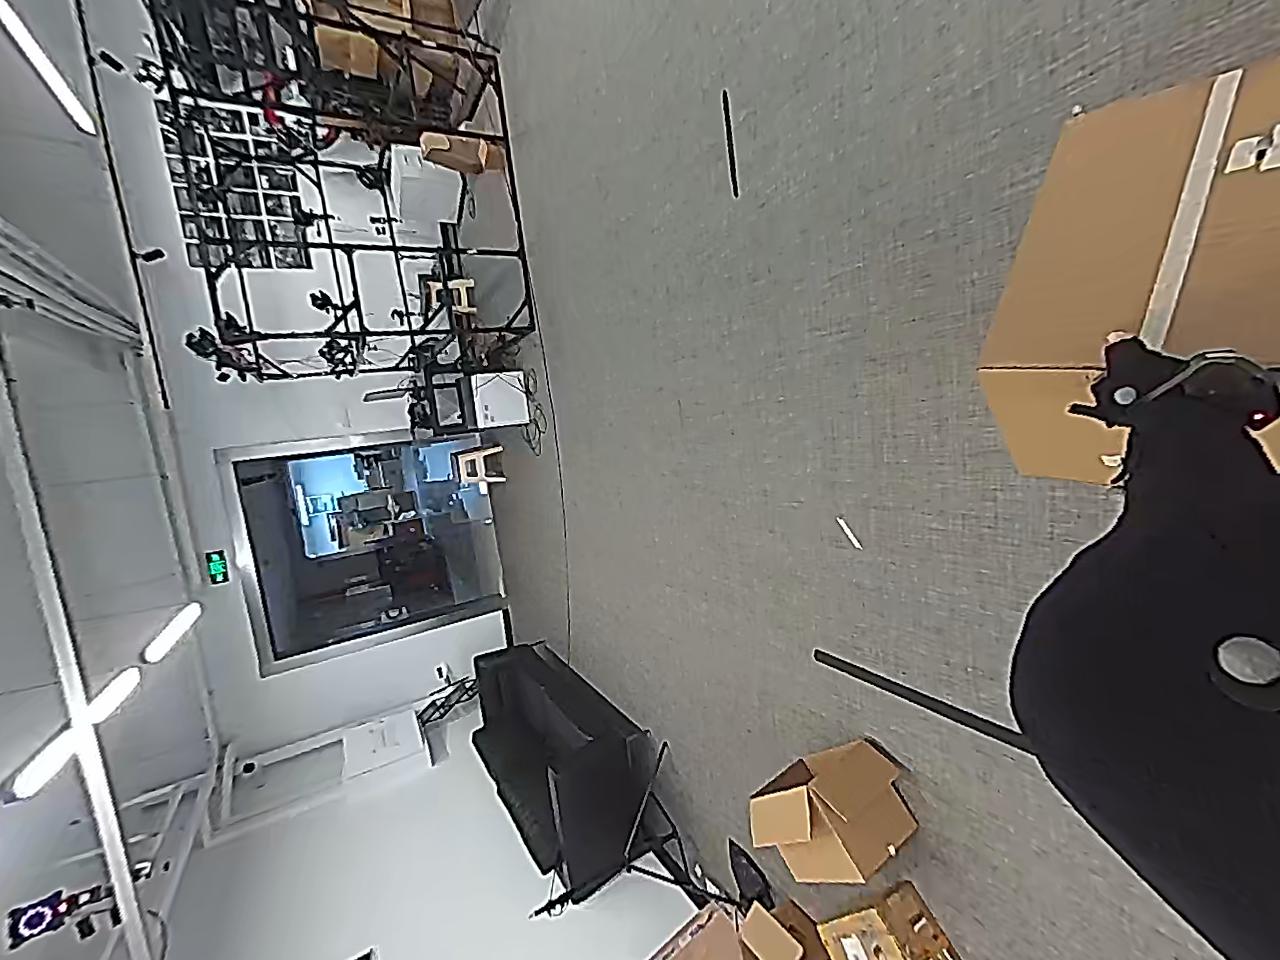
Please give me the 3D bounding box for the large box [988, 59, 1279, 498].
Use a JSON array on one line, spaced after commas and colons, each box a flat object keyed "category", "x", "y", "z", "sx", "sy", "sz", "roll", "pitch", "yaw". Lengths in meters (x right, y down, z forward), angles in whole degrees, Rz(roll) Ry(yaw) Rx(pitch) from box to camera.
[{"category": "large box", "x": 0.704, "y": -0.230, "z": 0.688, "sx": 0.320, "sy": 0.320, "sz": 0.408, "roll": 14, "pitch": 75, "yaw": 47}]
